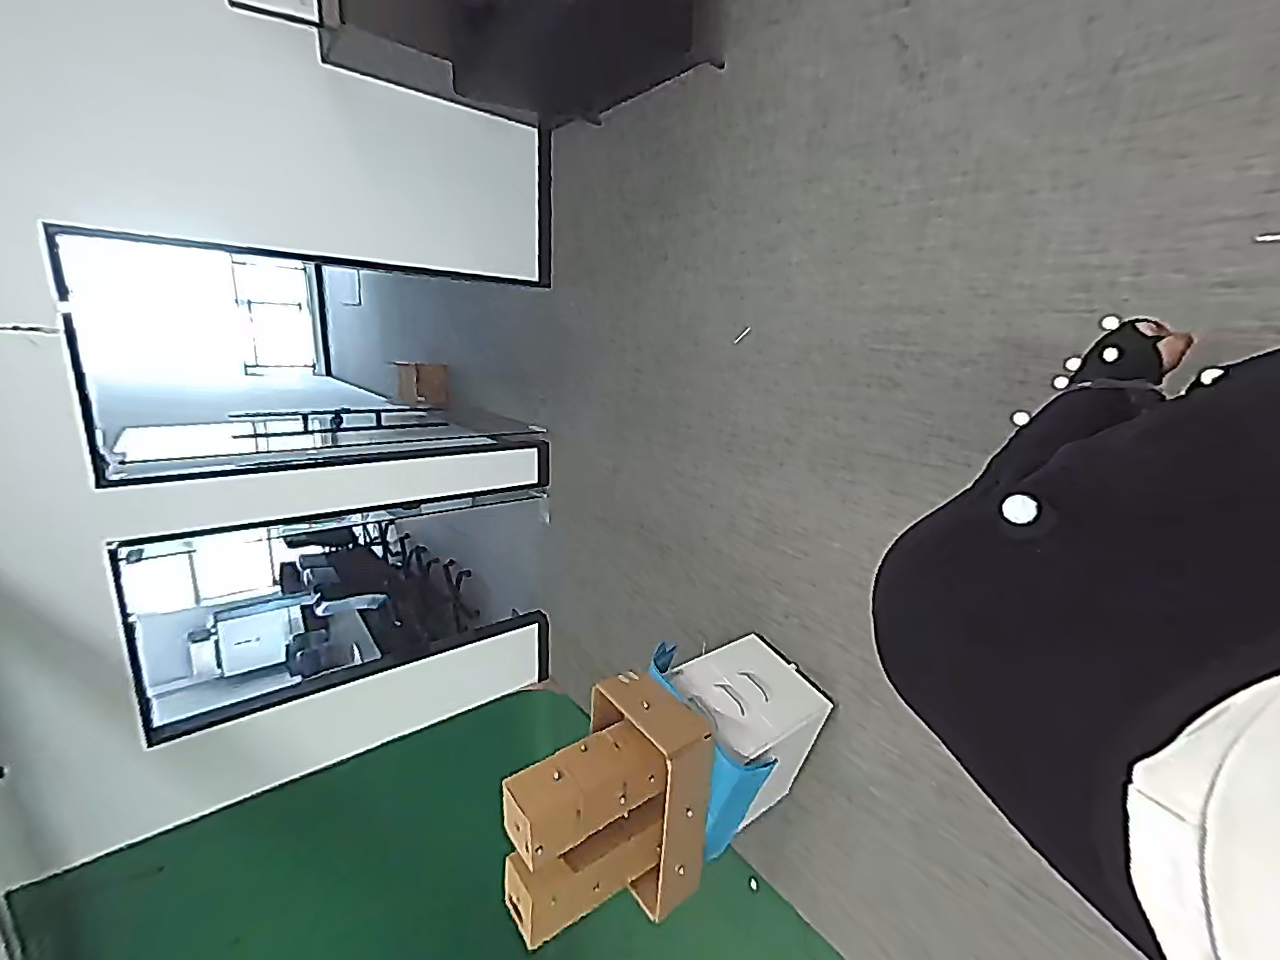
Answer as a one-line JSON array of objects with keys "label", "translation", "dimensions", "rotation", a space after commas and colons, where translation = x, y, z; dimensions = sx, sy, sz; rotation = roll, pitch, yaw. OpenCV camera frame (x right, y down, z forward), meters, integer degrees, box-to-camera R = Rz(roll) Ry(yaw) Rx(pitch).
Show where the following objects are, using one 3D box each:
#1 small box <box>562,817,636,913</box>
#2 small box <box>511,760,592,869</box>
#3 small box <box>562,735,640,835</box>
[{"label": "small box", "translation": [-0.126, 1.165, 1.673], "dimensions": [0.168, 0.176, 0.179], "rotation": [19, 110, 50]}, {"label": "small box", "translation": [-0.249, 0.922, 1.517], "dimensions": [0.179, 0.176, 0.168], "rotation": [19, 114, 51]}, {"label": "small box", "translation": [-0.120, 0.896, 1.612], "dimensions": [0.179, 0.176, 0.168], "rotation": [20, 114, 50]}]
